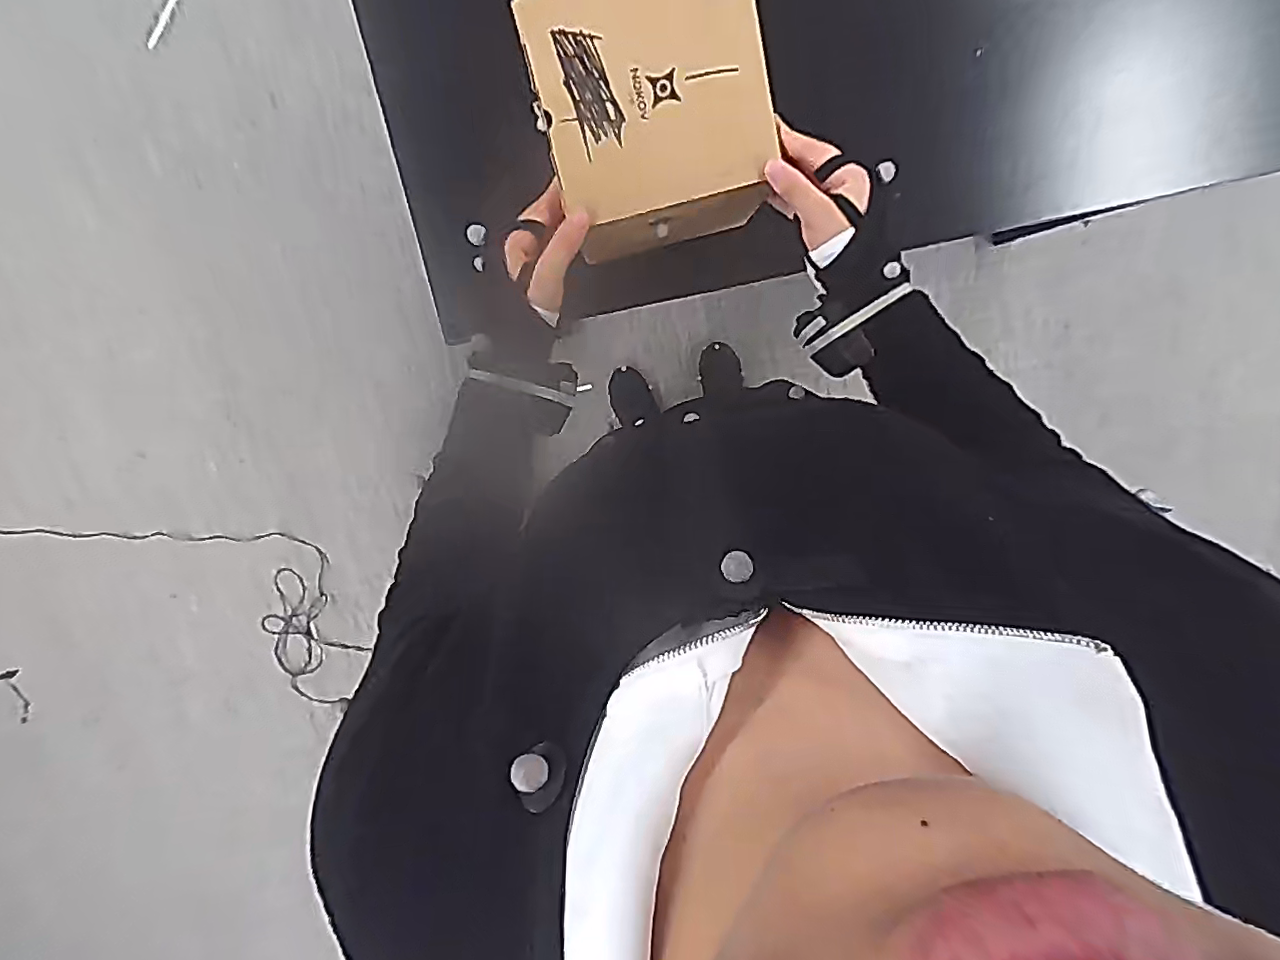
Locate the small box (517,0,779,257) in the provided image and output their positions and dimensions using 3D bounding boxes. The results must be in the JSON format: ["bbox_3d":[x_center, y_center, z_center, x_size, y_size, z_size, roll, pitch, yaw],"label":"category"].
[{"bbox_3d":[0.009,-0.317,0.493,0.179,0.176,0.168,-14,103,3],"label":"small box"}]
